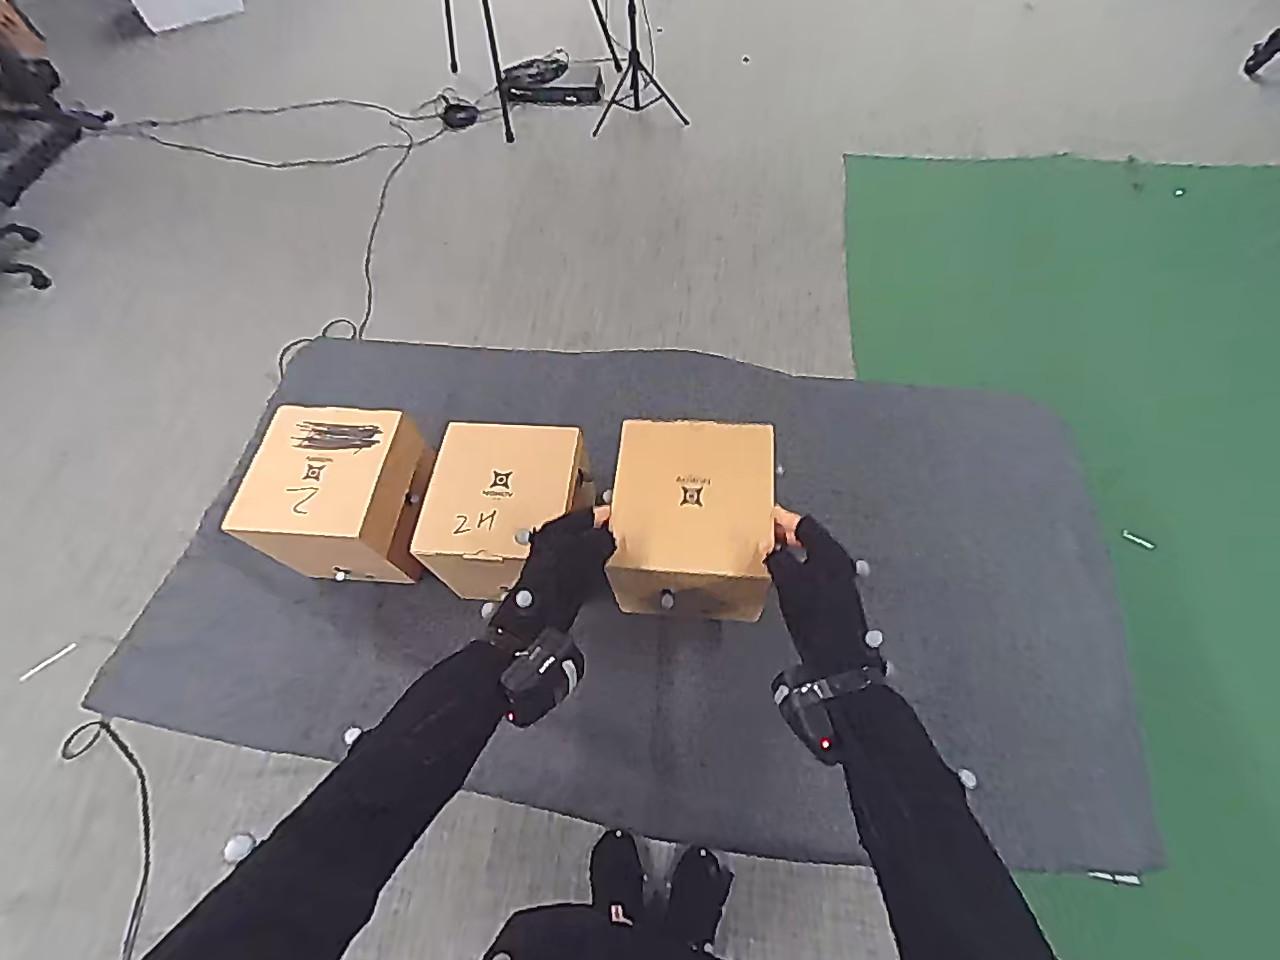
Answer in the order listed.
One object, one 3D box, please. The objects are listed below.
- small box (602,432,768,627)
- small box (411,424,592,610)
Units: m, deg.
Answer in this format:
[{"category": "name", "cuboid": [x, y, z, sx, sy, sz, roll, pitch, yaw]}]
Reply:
[{"category": "small box", "cuboid": [0.059, 0.064, 0.630, 0.168, 0.176, 0.179, 2, 60, 7]}, {"category": "small box", "cuboid": [-0.158, 0.051, 0.691, 0.168, 0.176, 0.179, 4, 61, 5]}]
